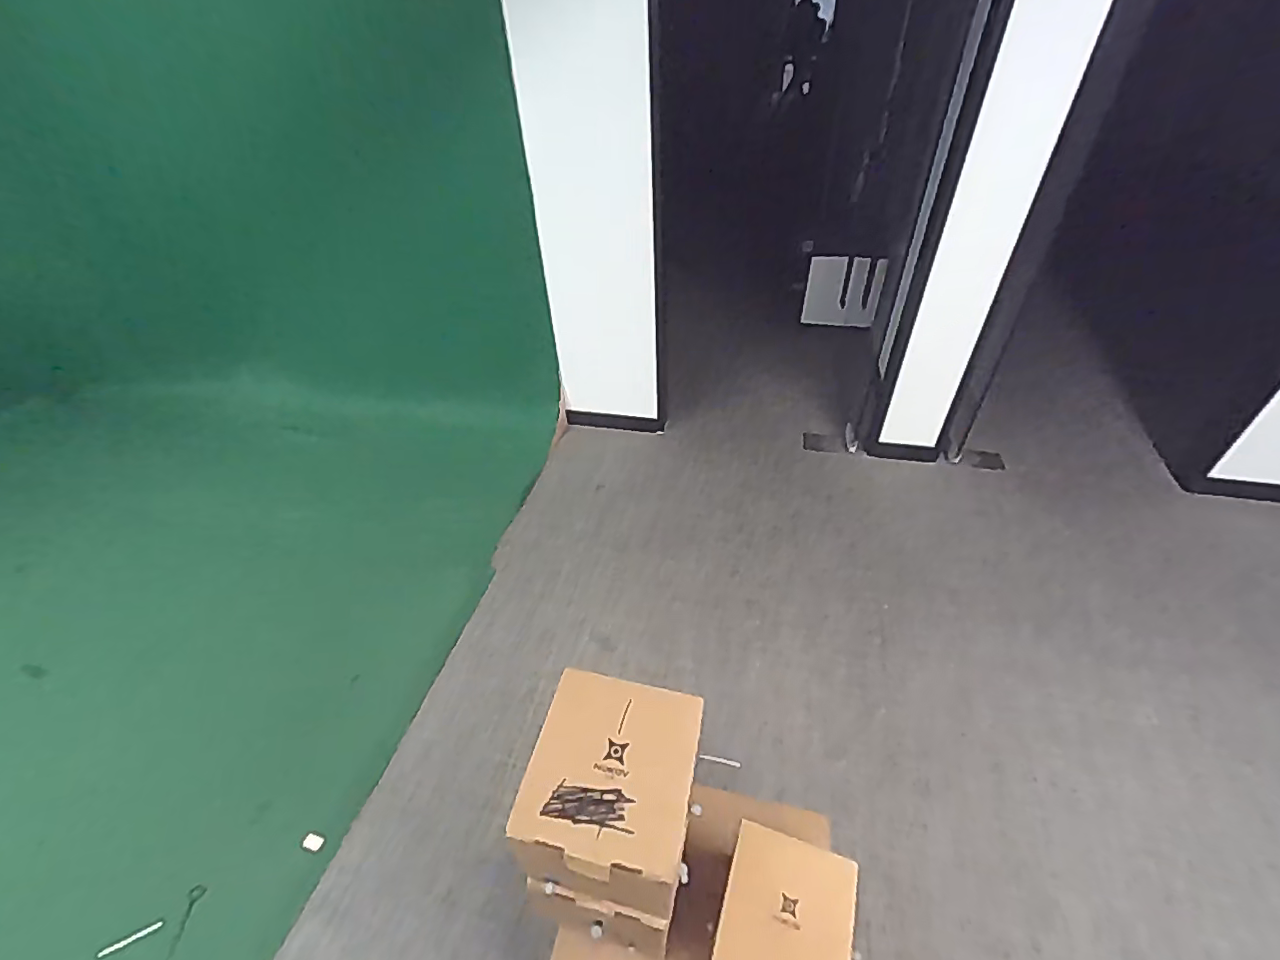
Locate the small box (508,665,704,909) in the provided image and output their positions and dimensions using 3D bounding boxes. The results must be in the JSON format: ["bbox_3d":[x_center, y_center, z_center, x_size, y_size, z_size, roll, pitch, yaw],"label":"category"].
[{"bbox_3d":[-0.025,0.342,0.605,0.168,0.176,0.179,9,42,10],"label":"small box"}]

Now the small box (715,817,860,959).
[{"bbox_3d":[0.203,0.624,0.763,0.168,0.176,0.179,11,43,17],"label":"small box"}]

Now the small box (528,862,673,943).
[{"bbox_3d":[-0.028,0.470,0.710,0.168,0.176,0.179,9,44,10],"label":"small box"}]

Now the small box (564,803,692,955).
[{"bbox_3d":[-0.019,0.585,0.826,0.168,0.176,0.179,10,43,12],"label":"small box"}]
